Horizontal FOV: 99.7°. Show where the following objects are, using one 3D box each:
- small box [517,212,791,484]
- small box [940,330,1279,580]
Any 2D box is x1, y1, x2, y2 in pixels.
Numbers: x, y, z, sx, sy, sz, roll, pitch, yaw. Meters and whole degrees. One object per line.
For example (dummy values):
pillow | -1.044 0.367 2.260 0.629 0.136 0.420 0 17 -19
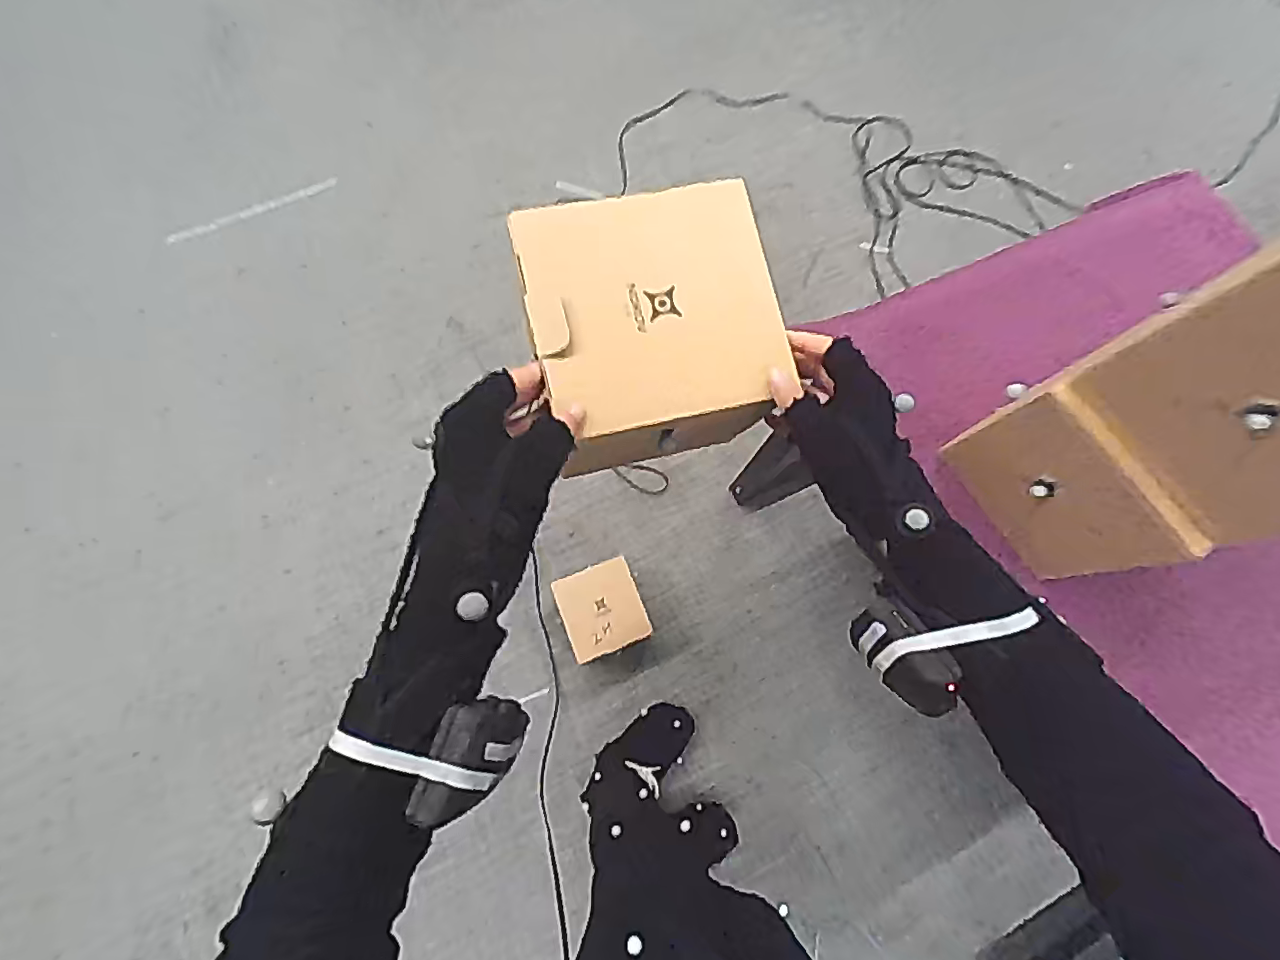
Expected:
small box | 0.001 -0.099 0.469 0.179 0.176 0.168 -12 84 -9
small box | 0.459 -0.011 0.550 0.168 0.176 0.179 -29 77 -12
